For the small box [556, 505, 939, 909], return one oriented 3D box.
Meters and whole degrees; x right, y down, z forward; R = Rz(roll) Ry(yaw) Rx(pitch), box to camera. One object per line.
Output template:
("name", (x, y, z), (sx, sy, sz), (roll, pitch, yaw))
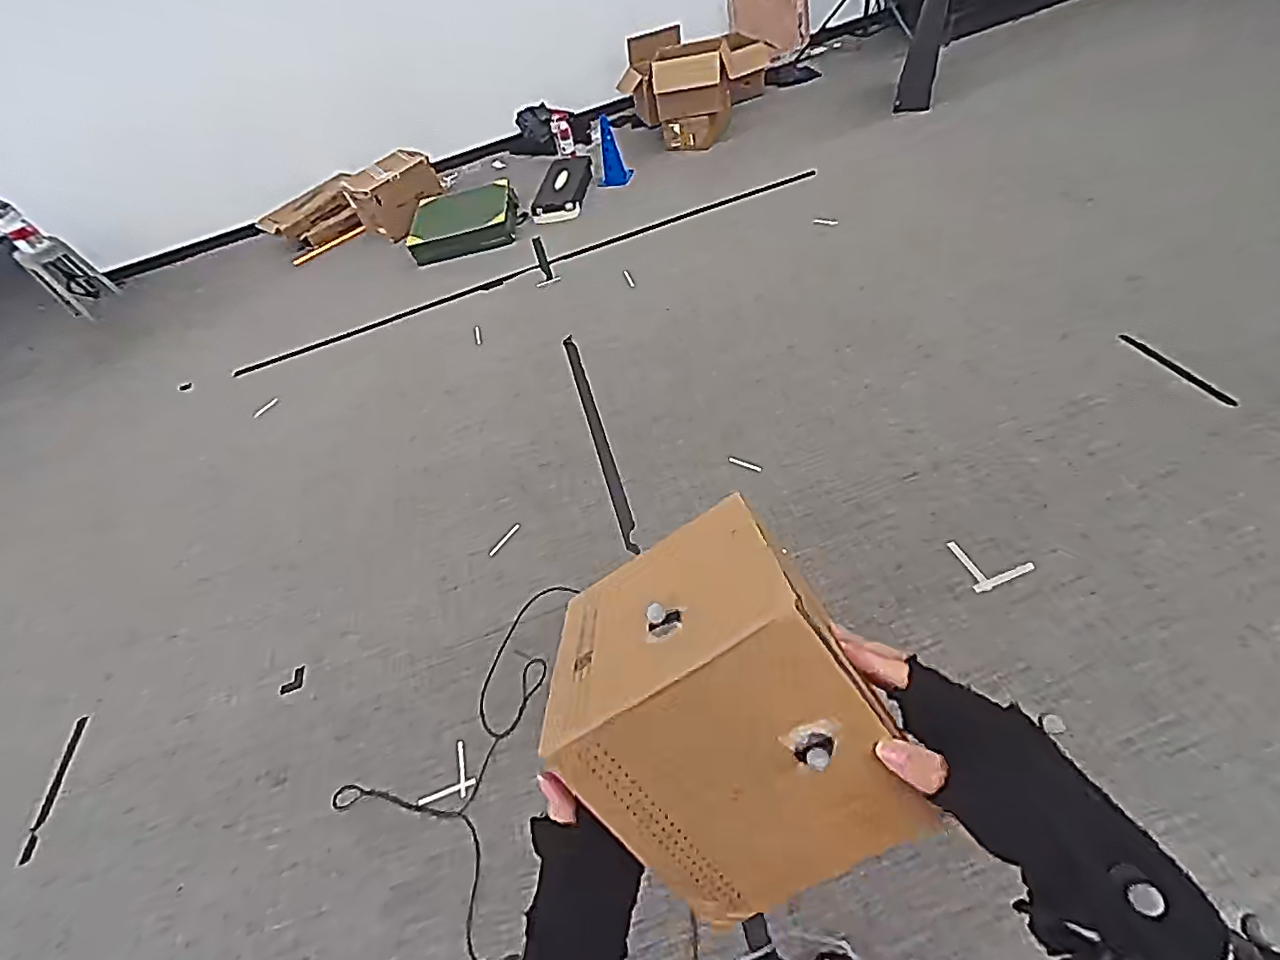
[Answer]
("small box", (0.061, 0.154, 0.388), (0.176, 0.179, 0.168), (-35, 15, 10))
